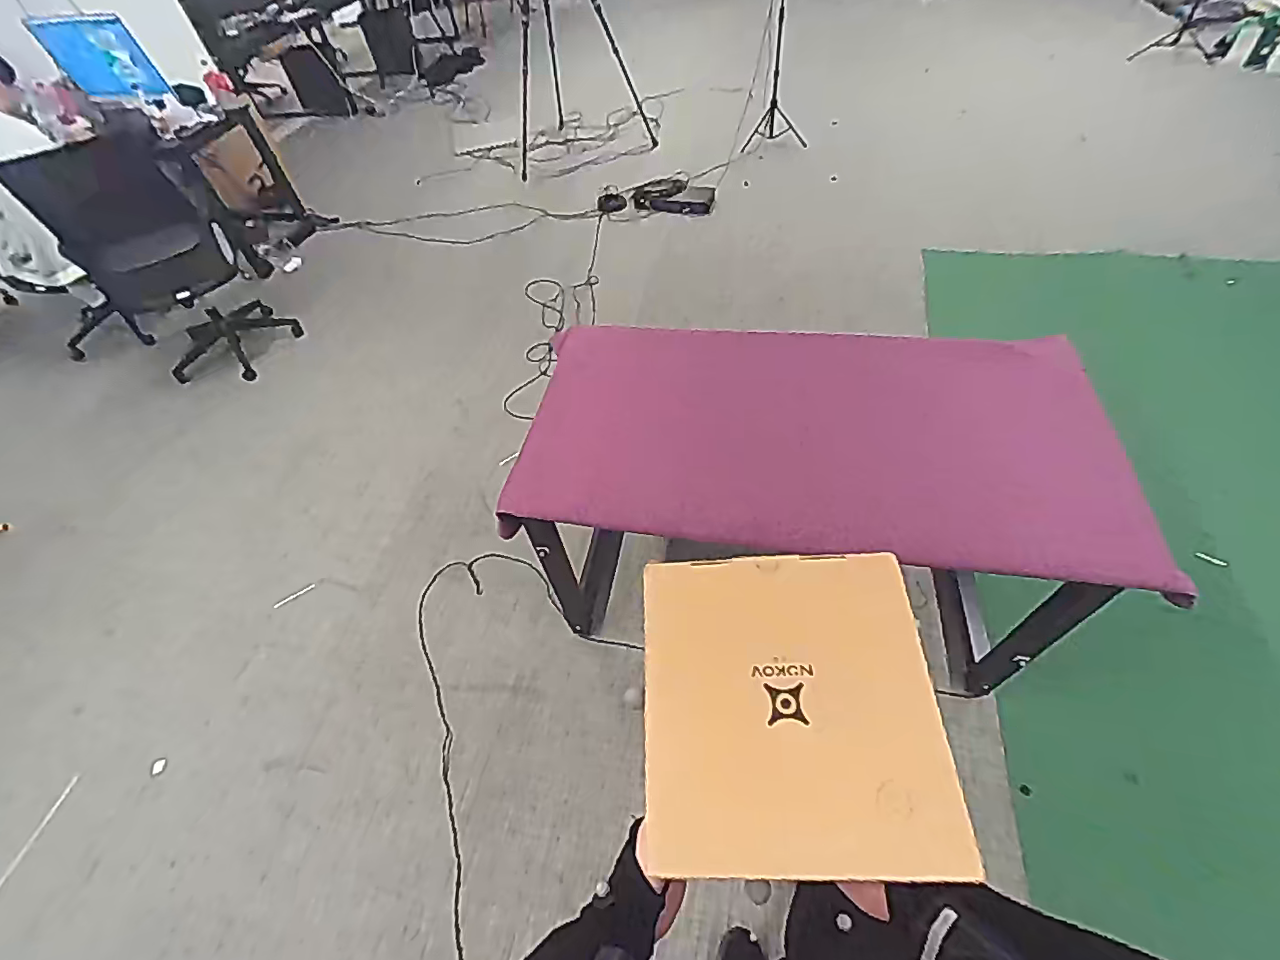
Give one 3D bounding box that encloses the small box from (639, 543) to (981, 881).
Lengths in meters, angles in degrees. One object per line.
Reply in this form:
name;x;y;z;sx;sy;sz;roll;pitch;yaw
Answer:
small box;0.092;0.161;0.372;0.168;0.176;0.179;-4;56;6
